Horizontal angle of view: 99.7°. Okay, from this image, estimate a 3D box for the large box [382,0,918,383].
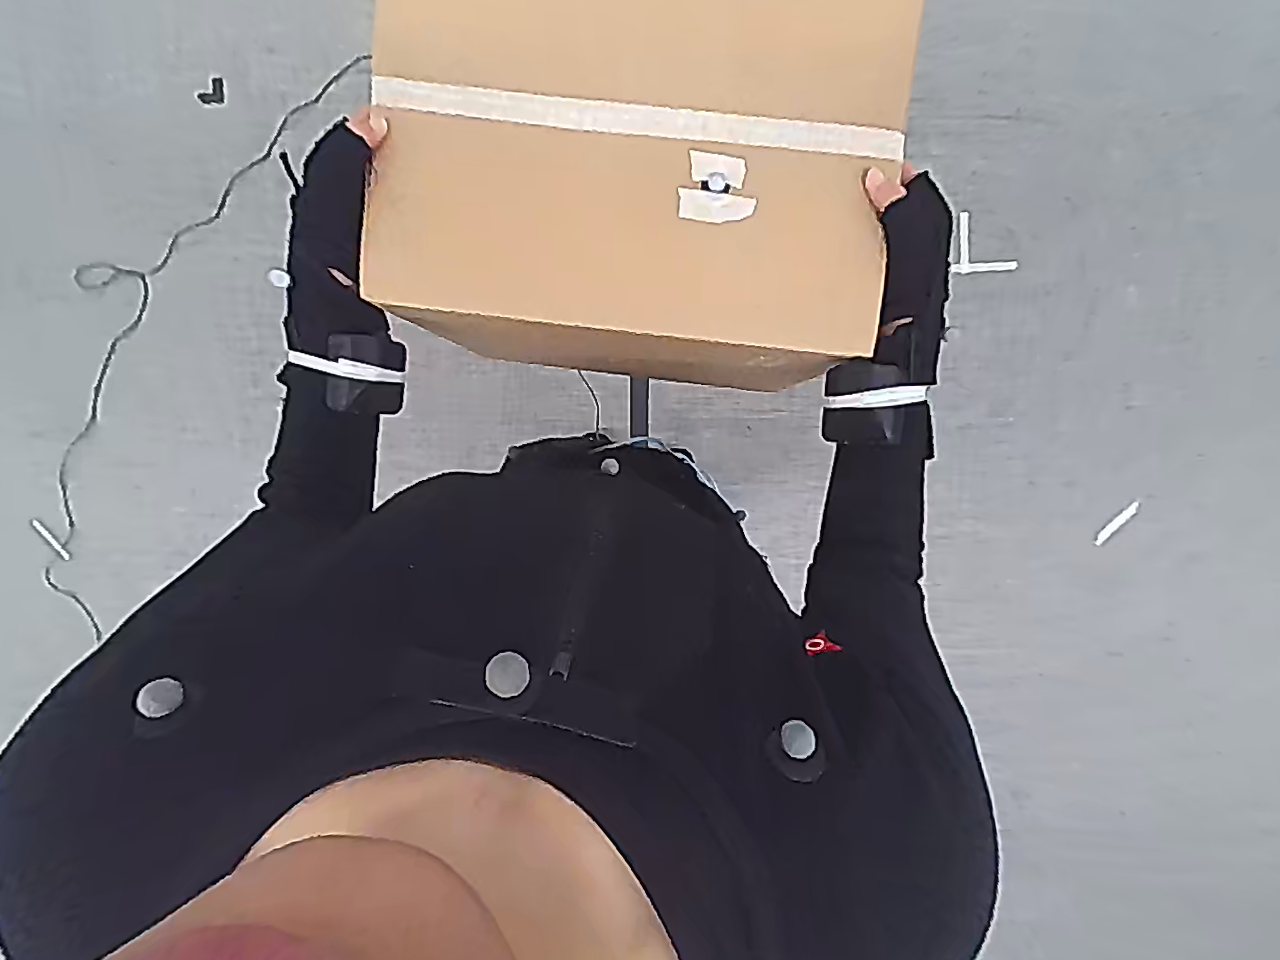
[{"bbox_3d":[0.003,-0.290,0.571,0.408,0.320,0.320,7,95,0],"label":"large box"}]
